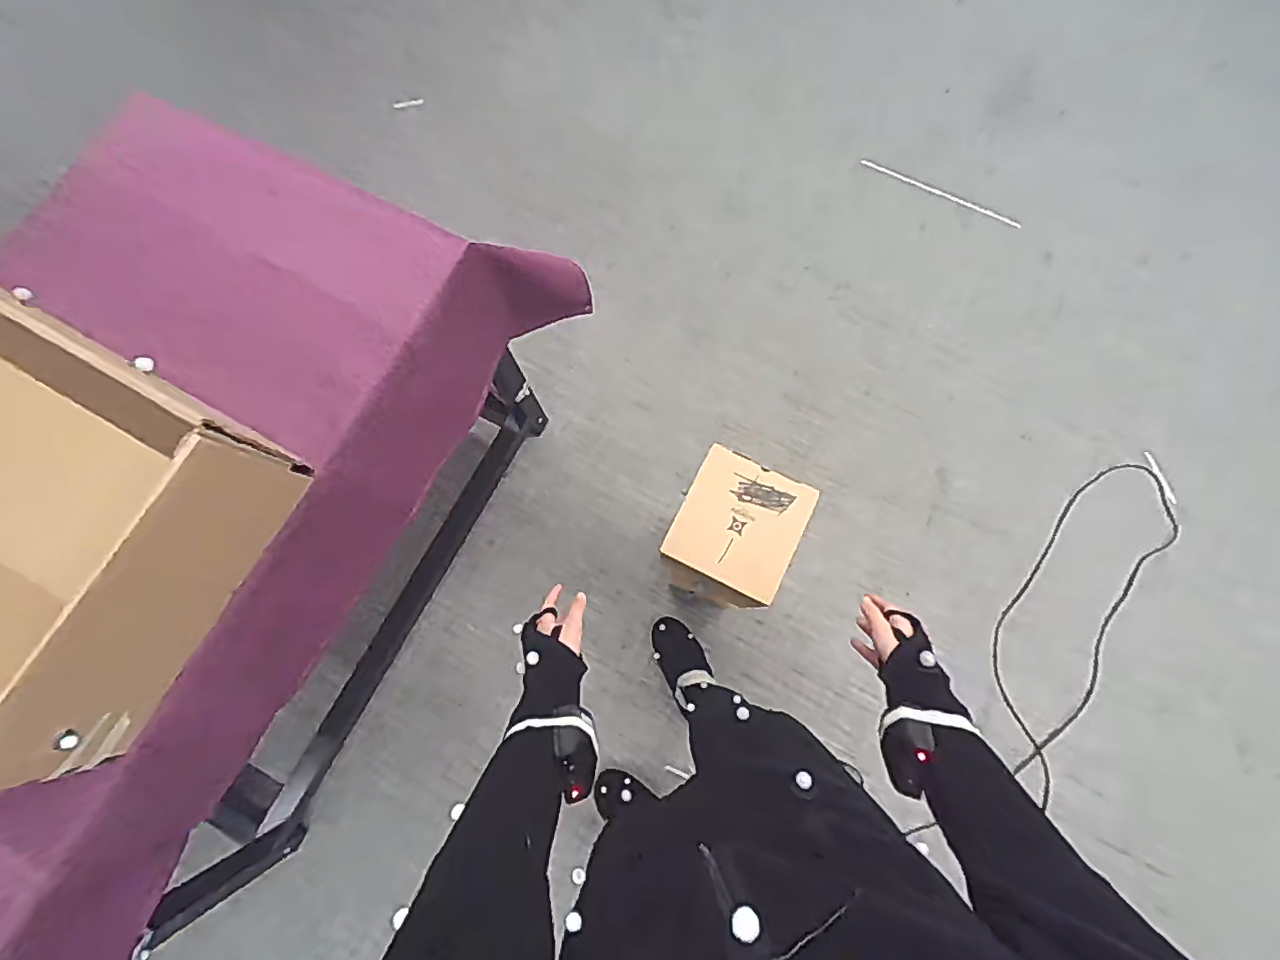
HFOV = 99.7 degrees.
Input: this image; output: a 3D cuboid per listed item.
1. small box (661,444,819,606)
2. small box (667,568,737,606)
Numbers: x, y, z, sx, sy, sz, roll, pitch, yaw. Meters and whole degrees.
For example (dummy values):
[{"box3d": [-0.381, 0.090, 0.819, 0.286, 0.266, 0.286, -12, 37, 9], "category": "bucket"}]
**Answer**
[{"box3d": [0.140, 0.075, 0.817, 0.168, 0.176, 0.179, 26, 80, 9], "category": "small box"}, {"box3d": [0.173, 0.192, 1.296, 0.168, 0.176, 0.179, 21, 78, 7], "category": "small box"}]
